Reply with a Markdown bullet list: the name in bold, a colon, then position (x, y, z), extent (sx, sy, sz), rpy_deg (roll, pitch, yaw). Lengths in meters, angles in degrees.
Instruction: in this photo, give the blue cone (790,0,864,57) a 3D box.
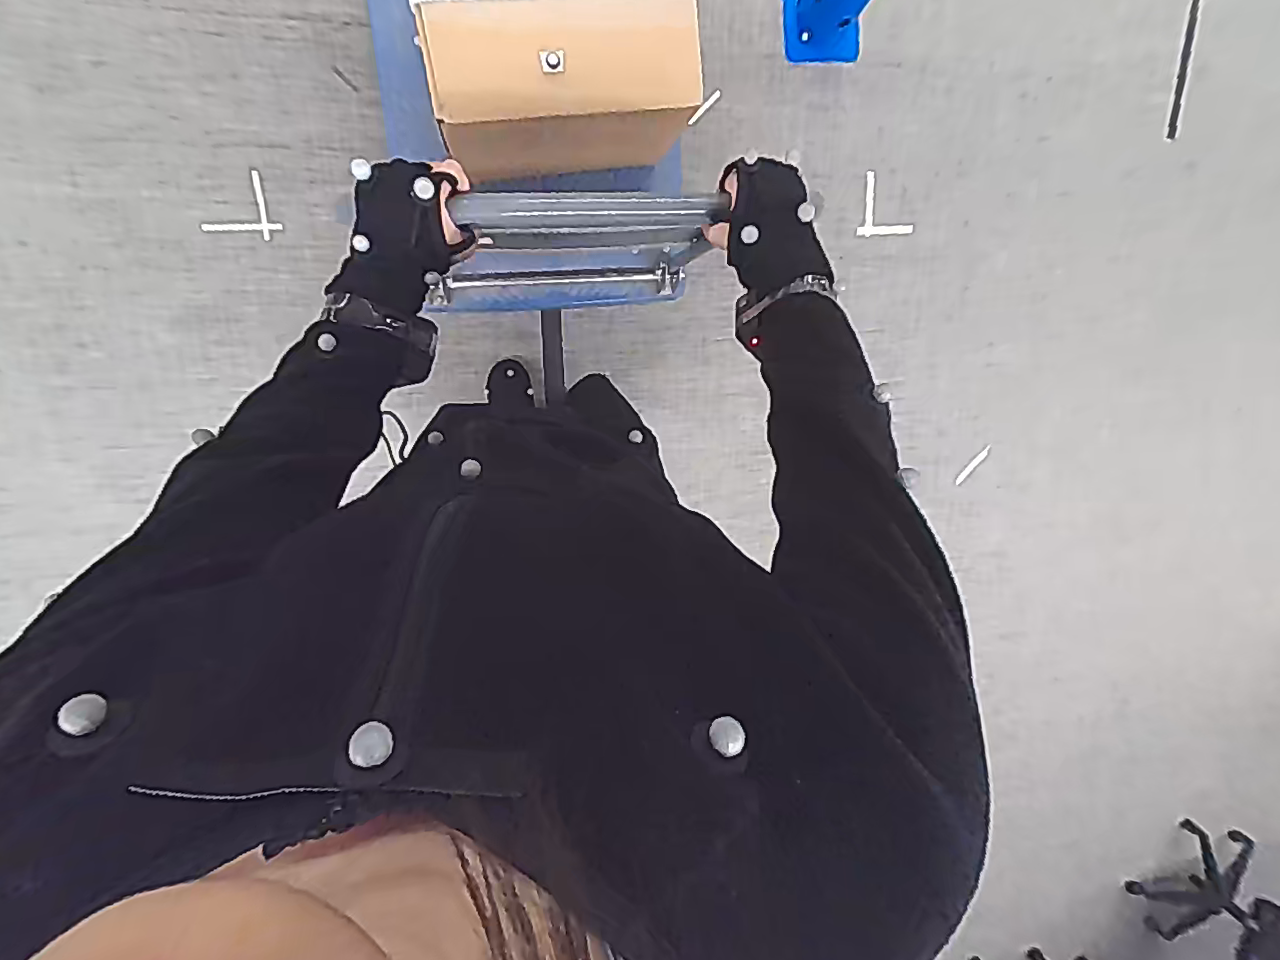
- **blue cone**: position (0.483, -1.090, 1.144), extent (0.193, 0.380, 0.192), rpy_deg (-9, 105, -11)
